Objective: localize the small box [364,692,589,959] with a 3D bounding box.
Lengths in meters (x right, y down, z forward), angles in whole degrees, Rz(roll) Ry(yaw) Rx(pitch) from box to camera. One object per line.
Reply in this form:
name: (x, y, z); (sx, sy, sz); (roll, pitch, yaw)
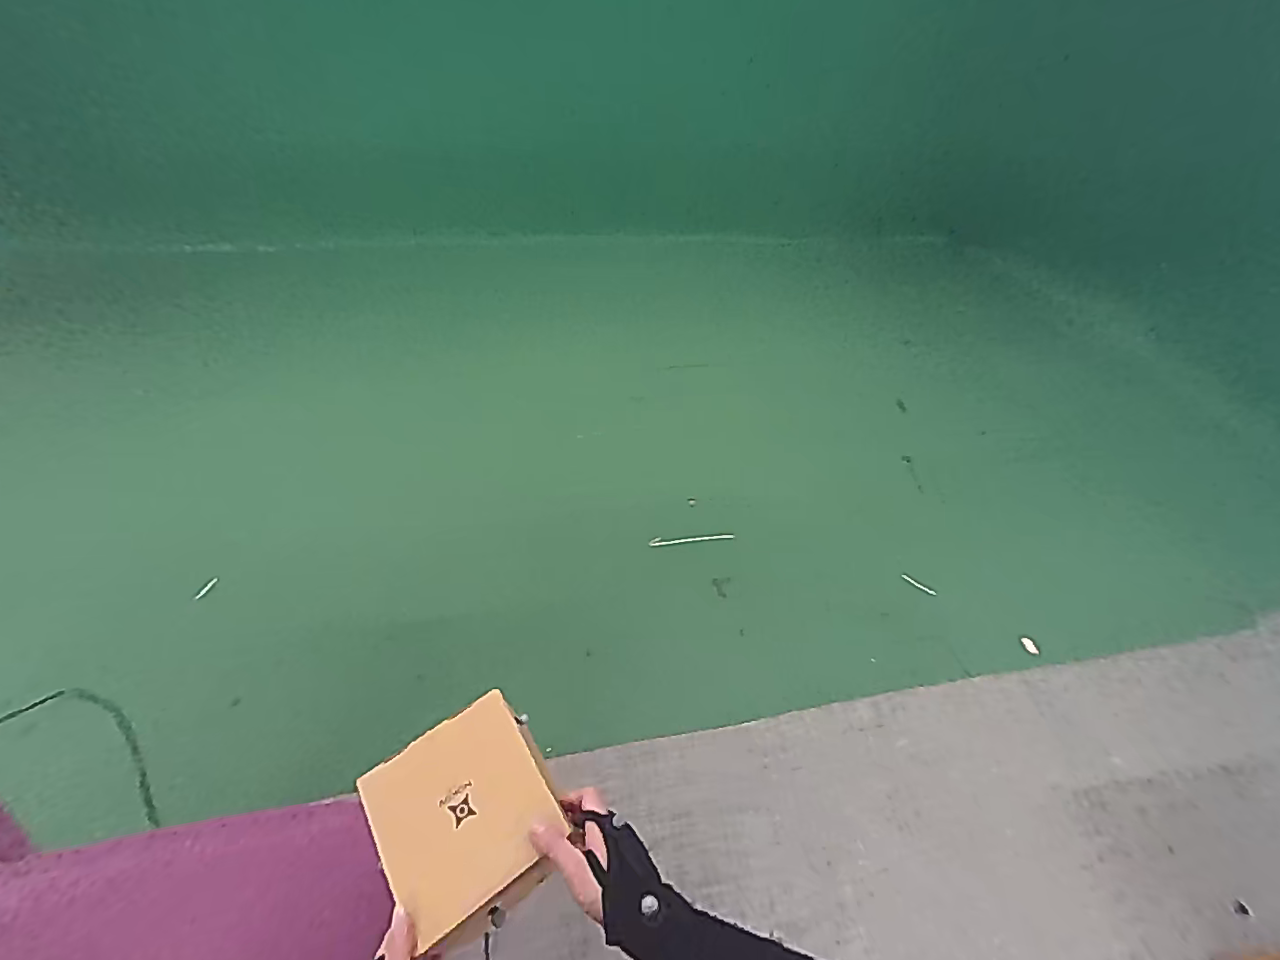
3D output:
small box: (-0.171, 0.379, 0.605); (0.168, 0.176, 0.179); (-29, 55, -19)
